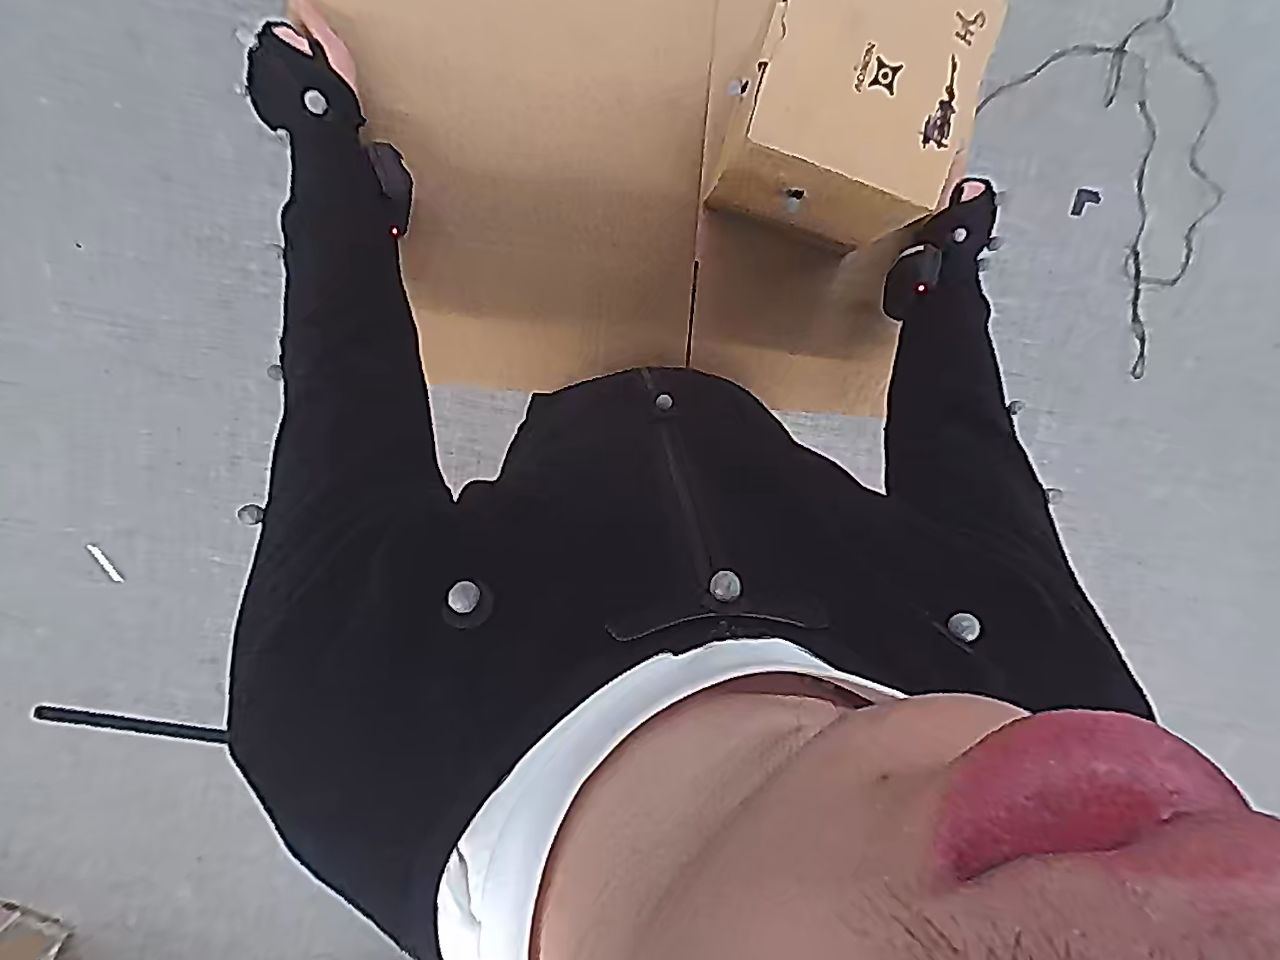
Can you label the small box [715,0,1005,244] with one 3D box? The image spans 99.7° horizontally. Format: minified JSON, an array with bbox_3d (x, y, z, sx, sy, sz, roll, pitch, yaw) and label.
[{"bbox_3d":[0.185,-0.348,0.517,0.179,0.176,0.168,16,99,-6],"label":"small box"}]
